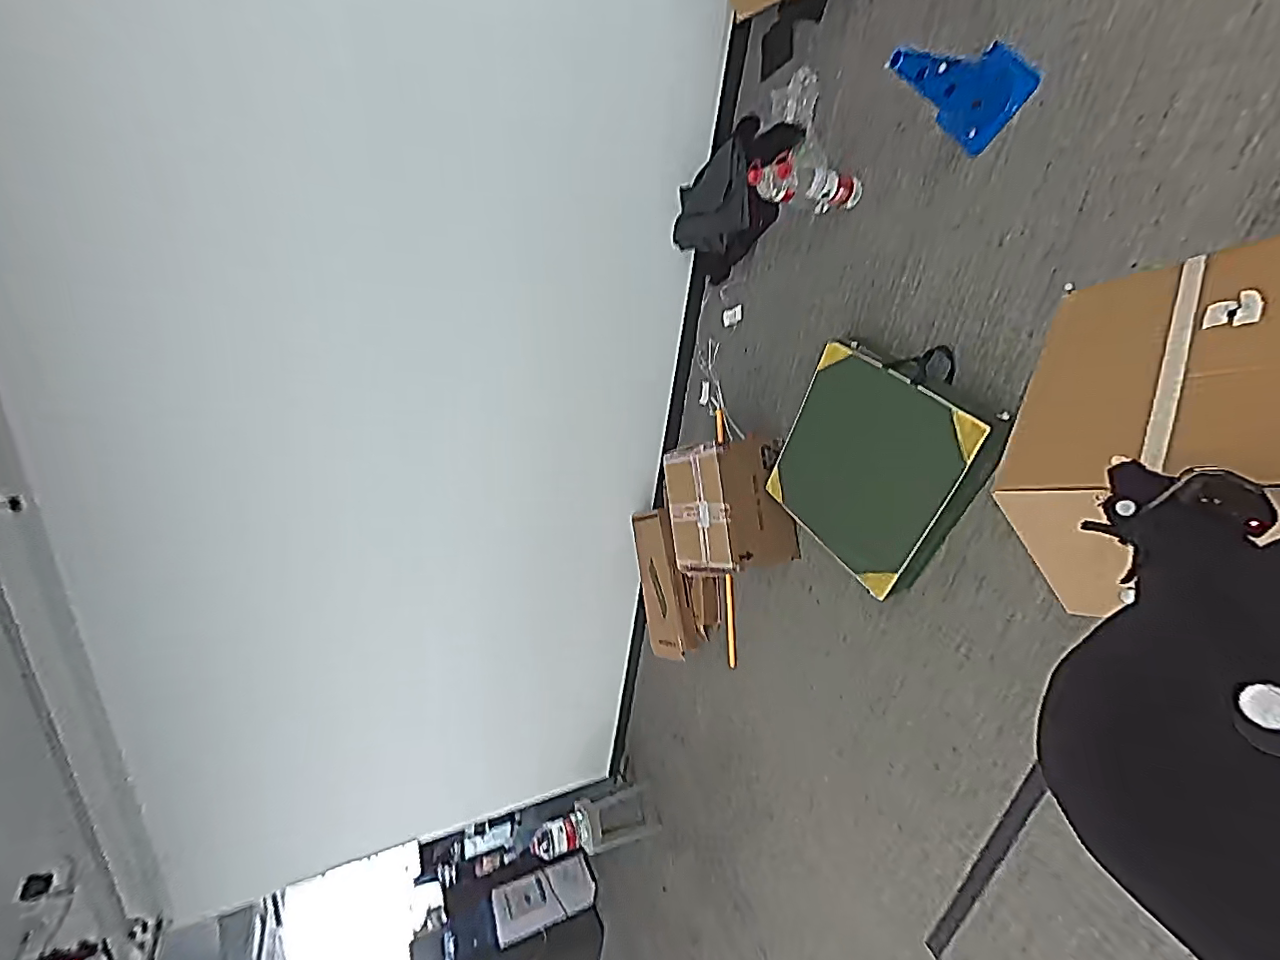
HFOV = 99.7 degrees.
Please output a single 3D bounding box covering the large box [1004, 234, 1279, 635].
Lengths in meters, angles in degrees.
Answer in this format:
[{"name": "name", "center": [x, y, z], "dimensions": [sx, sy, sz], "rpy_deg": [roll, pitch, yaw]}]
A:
[{"name": "large box", "center": [0.757, -0.052, 0.714], "dimensions": [0.320, 0.320, 0.408], "rpy_deg": [-2, 48, 57]}]
